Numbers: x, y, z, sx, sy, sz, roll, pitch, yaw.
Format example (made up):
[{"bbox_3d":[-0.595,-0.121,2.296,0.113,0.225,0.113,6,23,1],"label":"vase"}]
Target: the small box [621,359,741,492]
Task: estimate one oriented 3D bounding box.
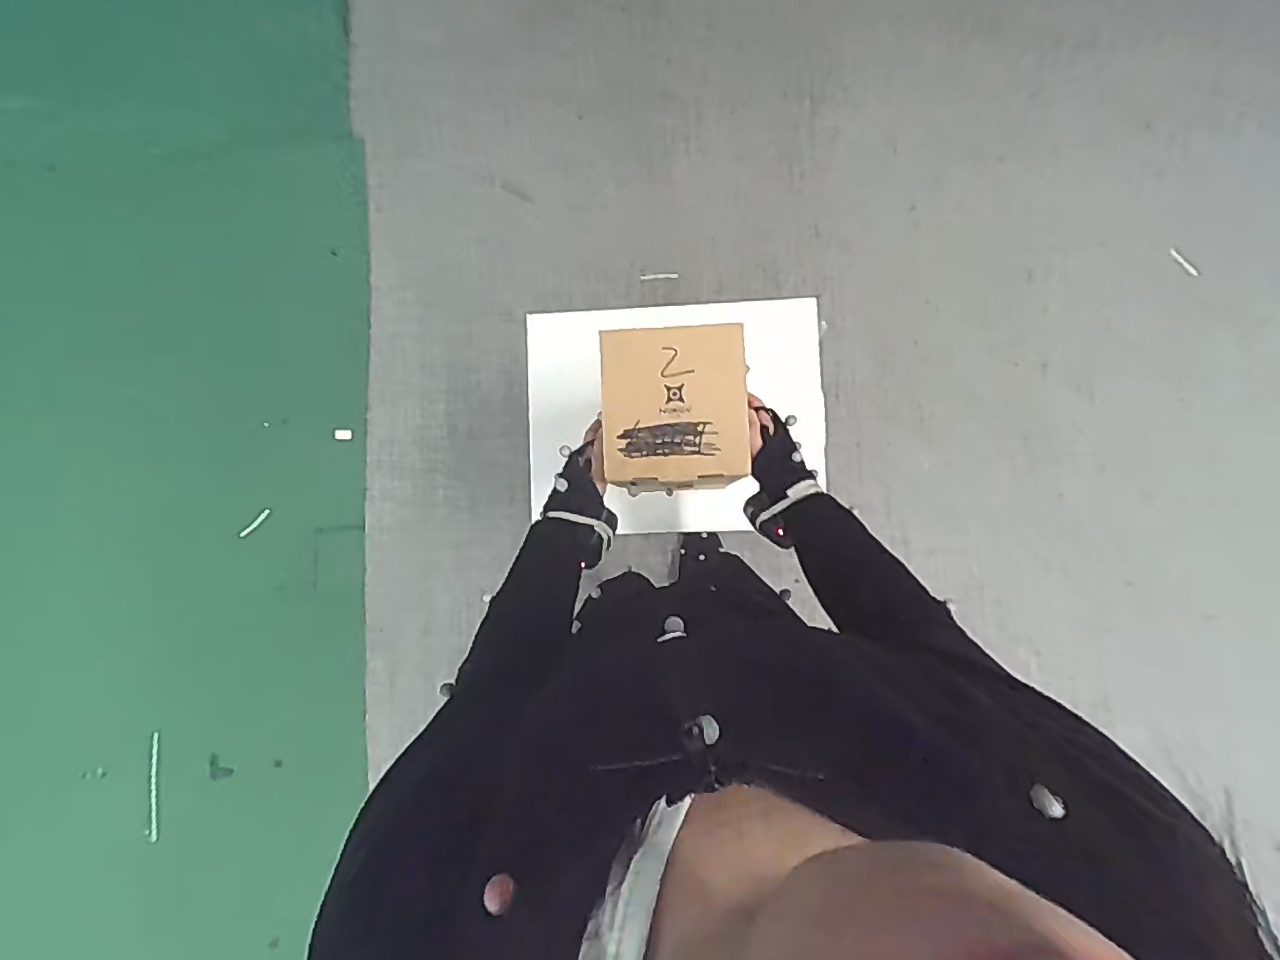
[{"bbox_3d":[0.060,-0.075,0.831,0.168,0.176,0.179,-2,86,4],"label":"small box"}]
